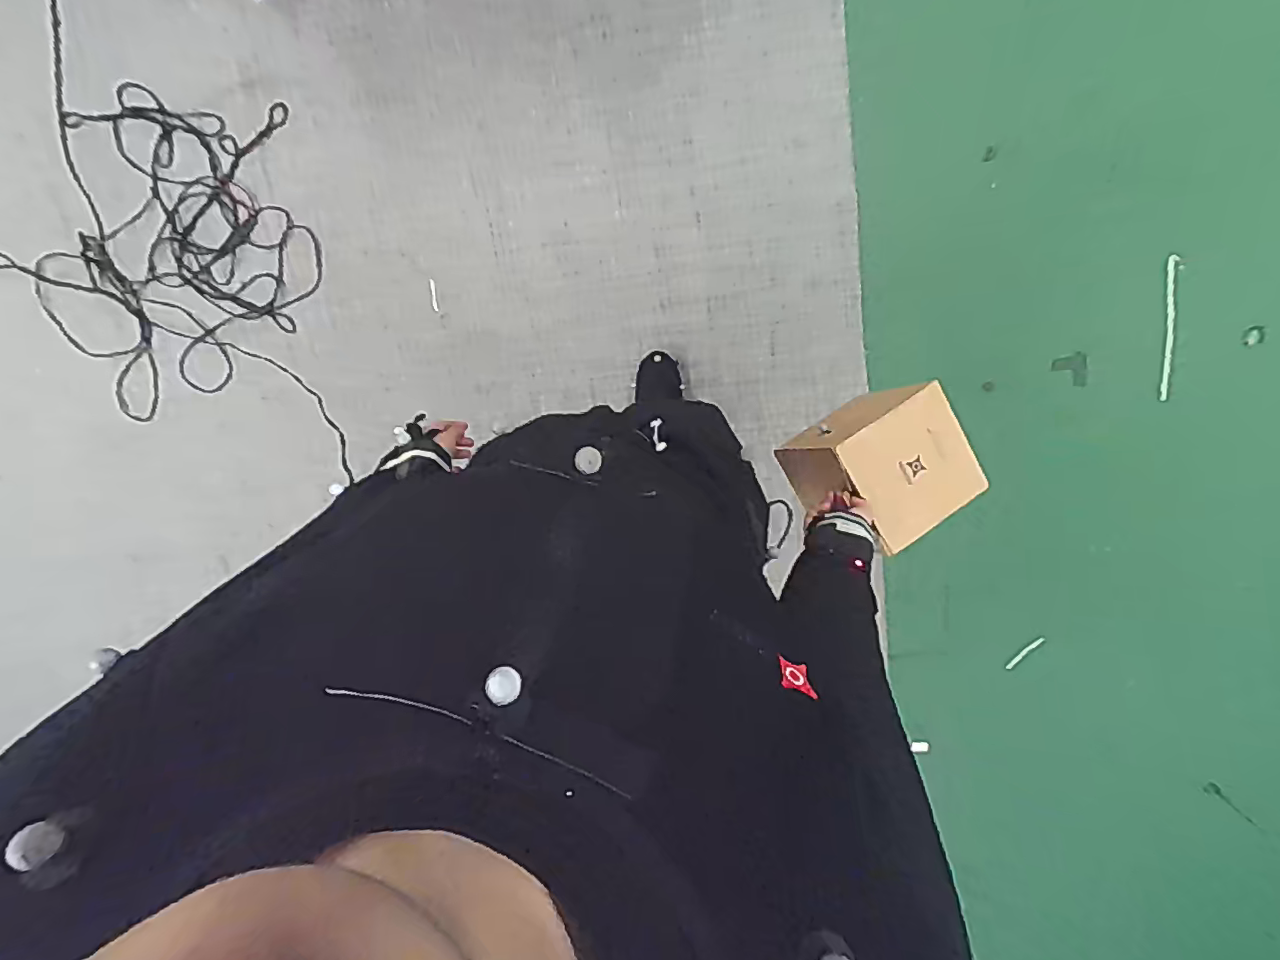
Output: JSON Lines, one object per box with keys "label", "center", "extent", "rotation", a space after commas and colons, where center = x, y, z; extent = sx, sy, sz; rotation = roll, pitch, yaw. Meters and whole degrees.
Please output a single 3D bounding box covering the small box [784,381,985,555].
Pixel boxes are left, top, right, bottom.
{"label": "small box", "center": [0.331, -0.017, 0.772], "extent": [0.179, 0.176, 0.168], "rotation": [-33, 99, -11]}
